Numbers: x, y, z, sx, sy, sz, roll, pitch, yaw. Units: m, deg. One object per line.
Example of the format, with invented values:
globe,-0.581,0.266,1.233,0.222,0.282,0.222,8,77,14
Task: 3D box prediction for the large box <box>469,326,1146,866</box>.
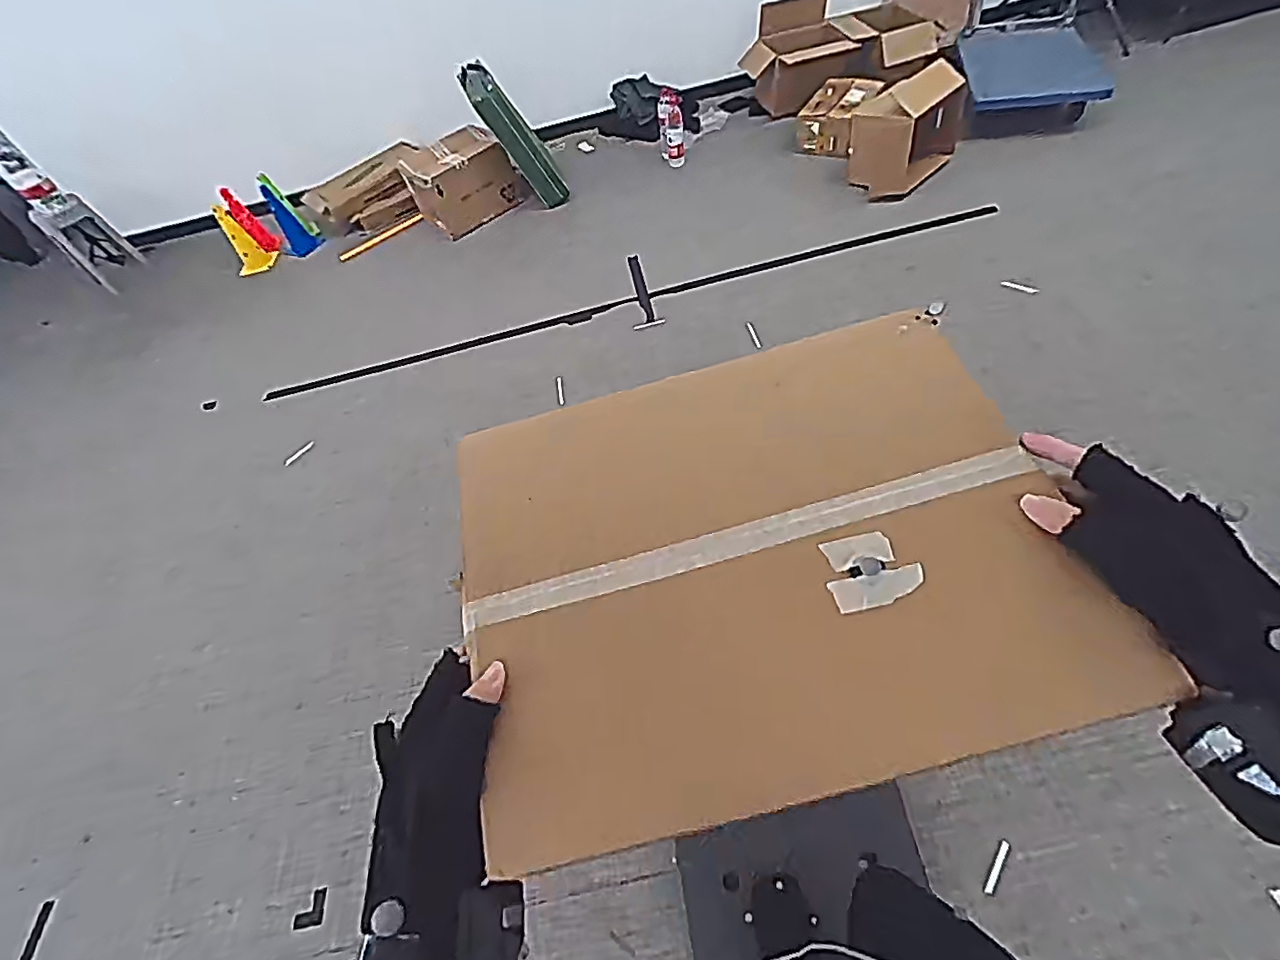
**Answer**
large box,0.097,0.120,0.521,0.408,0.320,0.320,-16,60,1
